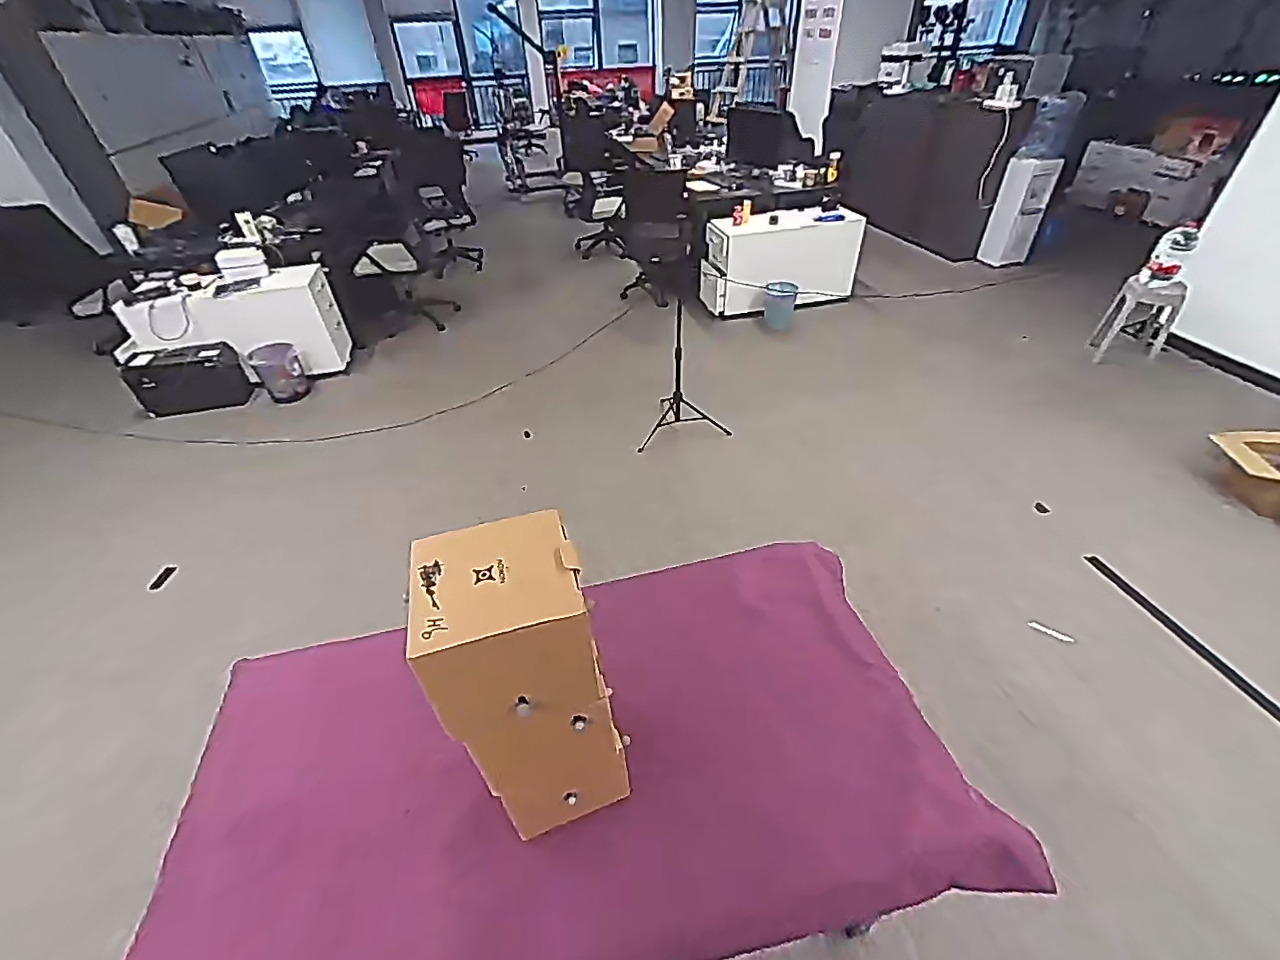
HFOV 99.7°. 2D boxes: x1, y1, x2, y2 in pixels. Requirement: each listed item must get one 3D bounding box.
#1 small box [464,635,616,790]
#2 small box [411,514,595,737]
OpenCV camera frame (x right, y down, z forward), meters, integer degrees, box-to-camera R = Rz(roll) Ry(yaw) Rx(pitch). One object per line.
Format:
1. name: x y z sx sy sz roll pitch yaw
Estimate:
1. small box: -0.139 0.292 0.742 0.179 0.176 0.168 -12 40 -11
2. small box: -0.153 0.168 0.635 0.179 0.176 0.168 -11 39 -12
